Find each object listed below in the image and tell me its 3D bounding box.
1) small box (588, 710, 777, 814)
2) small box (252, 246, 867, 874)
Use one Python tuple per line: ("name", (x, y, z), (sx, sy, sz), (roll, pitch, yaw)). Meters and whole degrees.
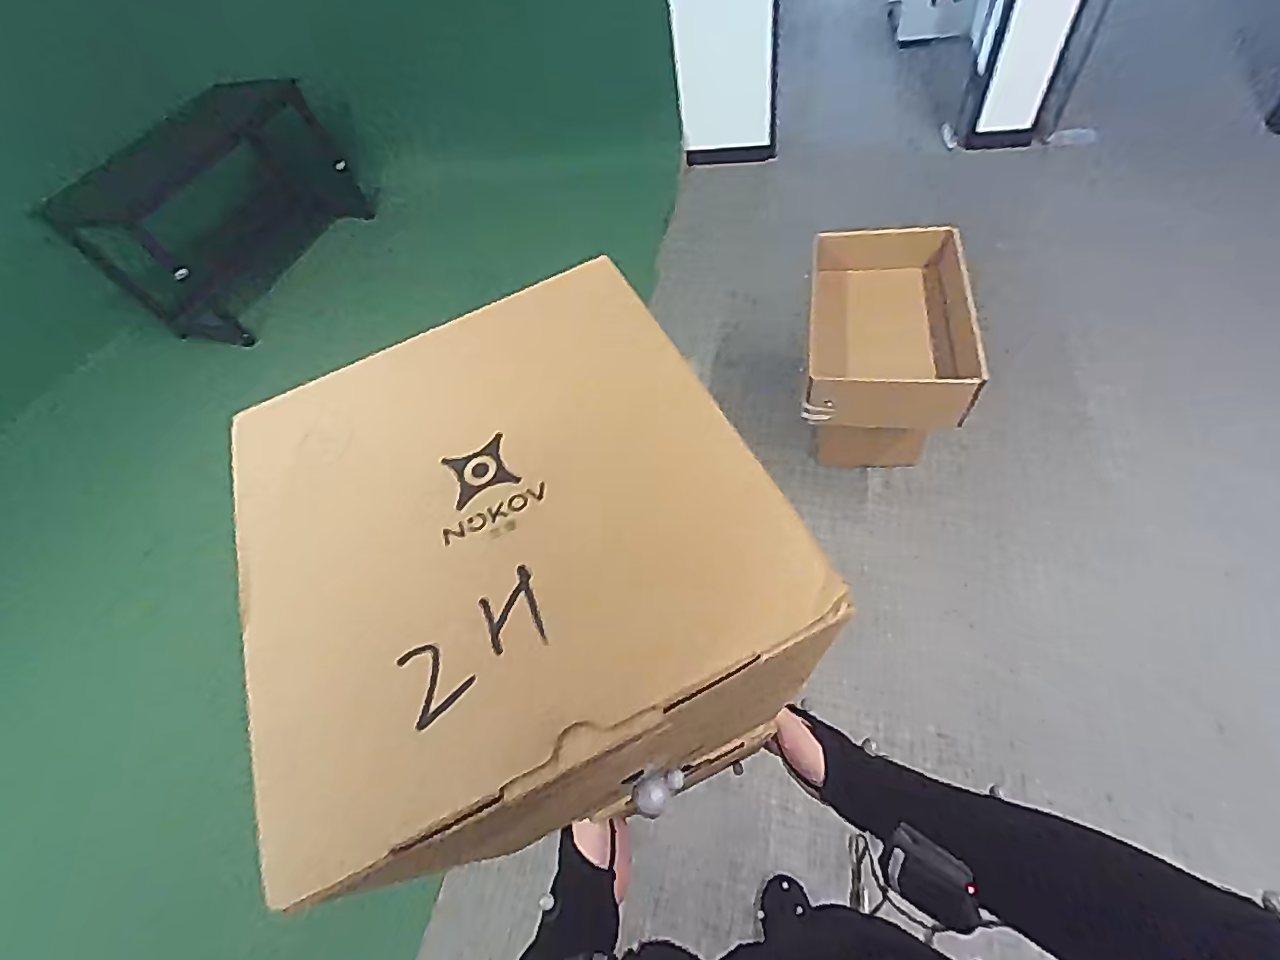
("small box", (0.015, 0.197, 0.531), (0.168, 0.176, 0.179), (-23, 59, -6))
("small box", (-0.035, 0.038, 0.247), (0.168, 0.176, 0.179), (-25, 60, -5))
